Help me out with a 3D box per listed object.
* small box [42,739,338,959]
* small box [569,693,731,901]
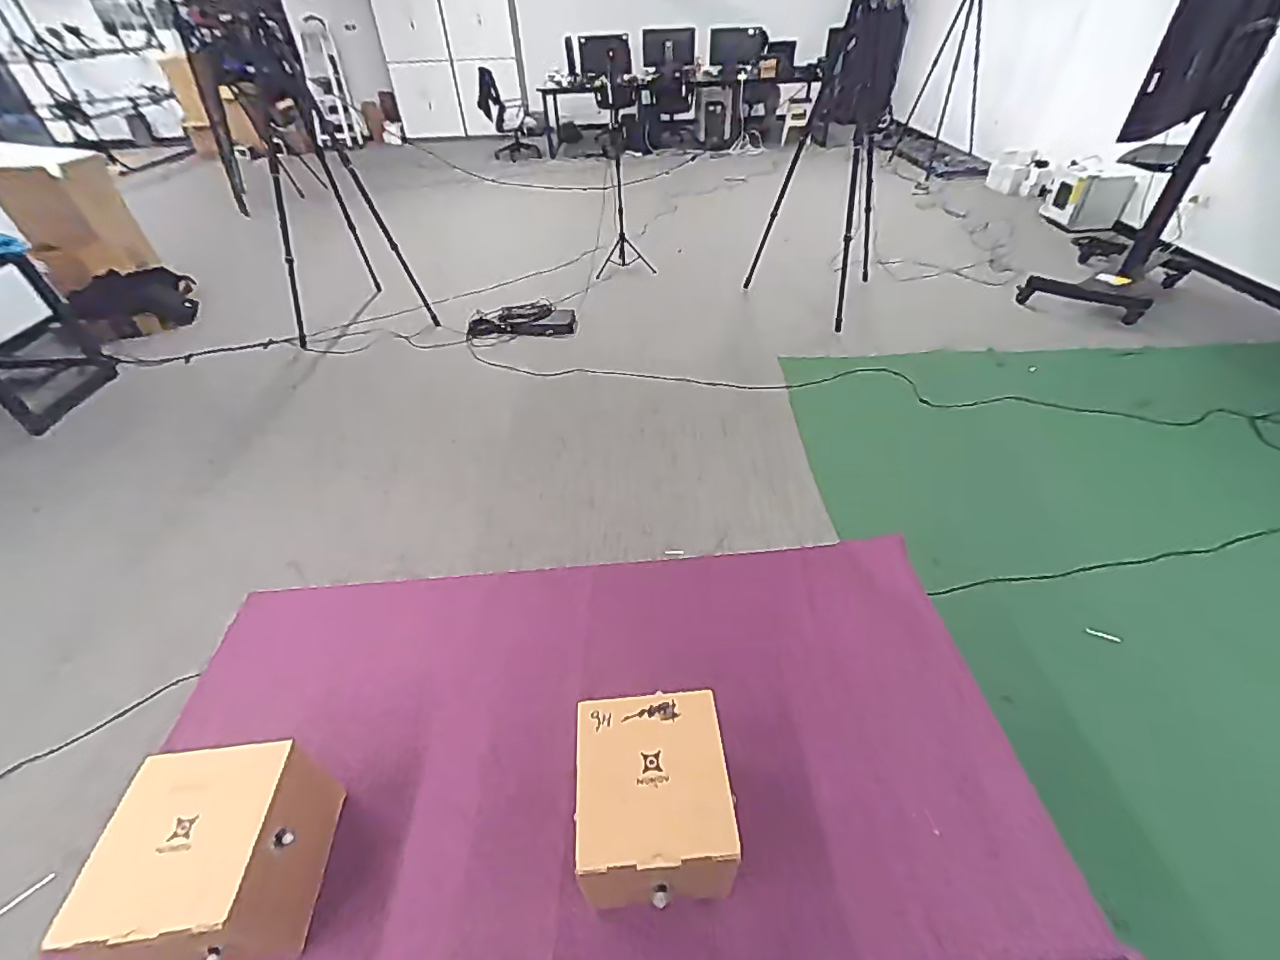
[{"bbox_3d":[-0.477,0.425,0.616,0.168,0.176,0.179,-4,41,-4],"label":"small box"},{"bbox_3d":[0.009,0.381,0.646,0.168,0.176,0.179,-4,42,-2],"label":"small box"}]
